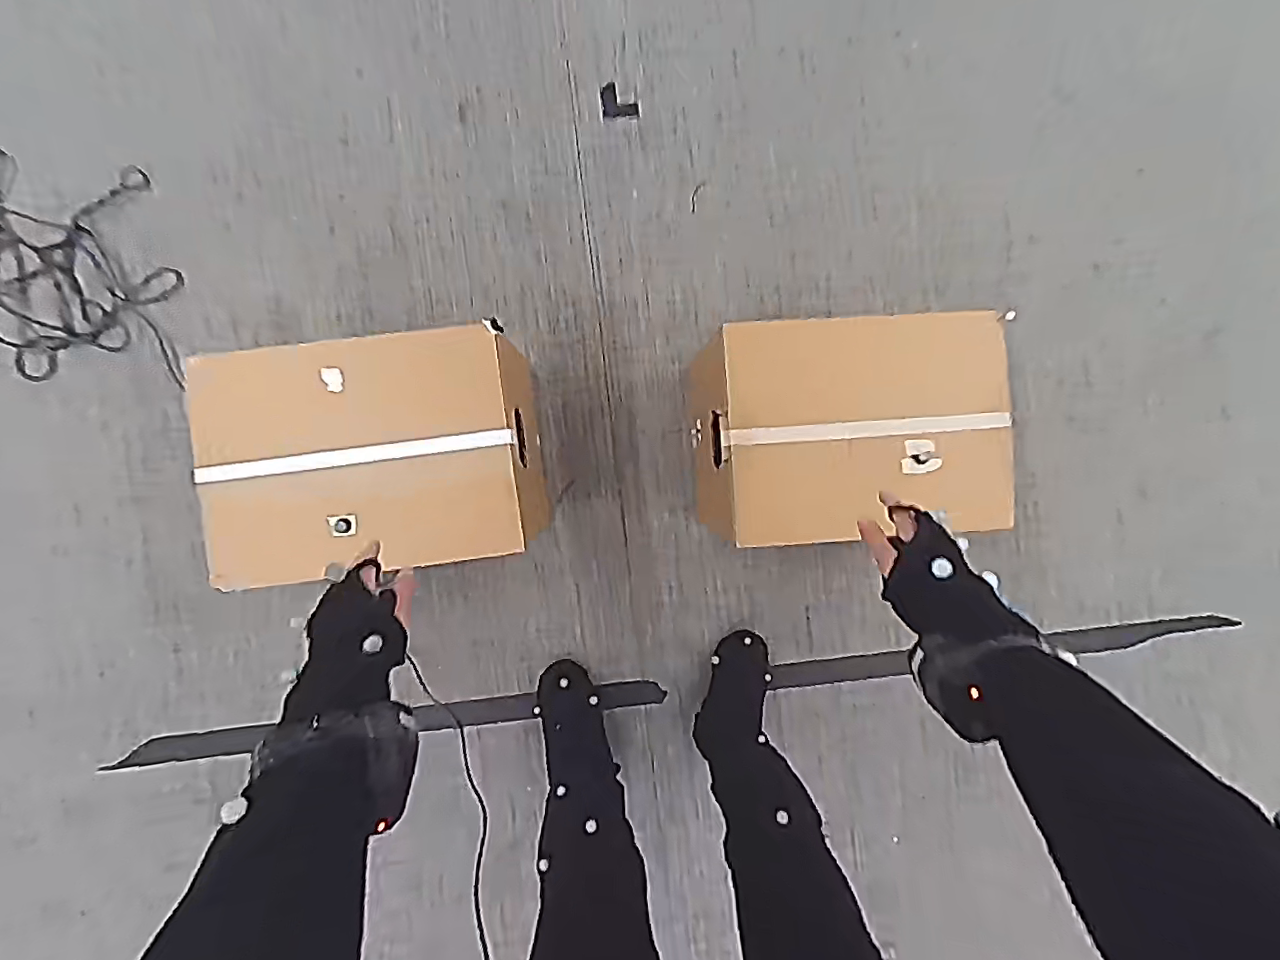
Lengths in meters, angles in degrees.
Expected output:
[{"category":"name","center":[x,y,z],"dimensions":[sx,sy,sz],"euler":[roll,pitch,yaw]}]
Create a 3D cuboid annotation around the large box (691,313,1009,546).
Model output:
[{"category":"large box","center":[0.316,-0.075,0.913],"dimensions":[0.408,0.320,0.320],"euler":[-3,92,-4]}]
